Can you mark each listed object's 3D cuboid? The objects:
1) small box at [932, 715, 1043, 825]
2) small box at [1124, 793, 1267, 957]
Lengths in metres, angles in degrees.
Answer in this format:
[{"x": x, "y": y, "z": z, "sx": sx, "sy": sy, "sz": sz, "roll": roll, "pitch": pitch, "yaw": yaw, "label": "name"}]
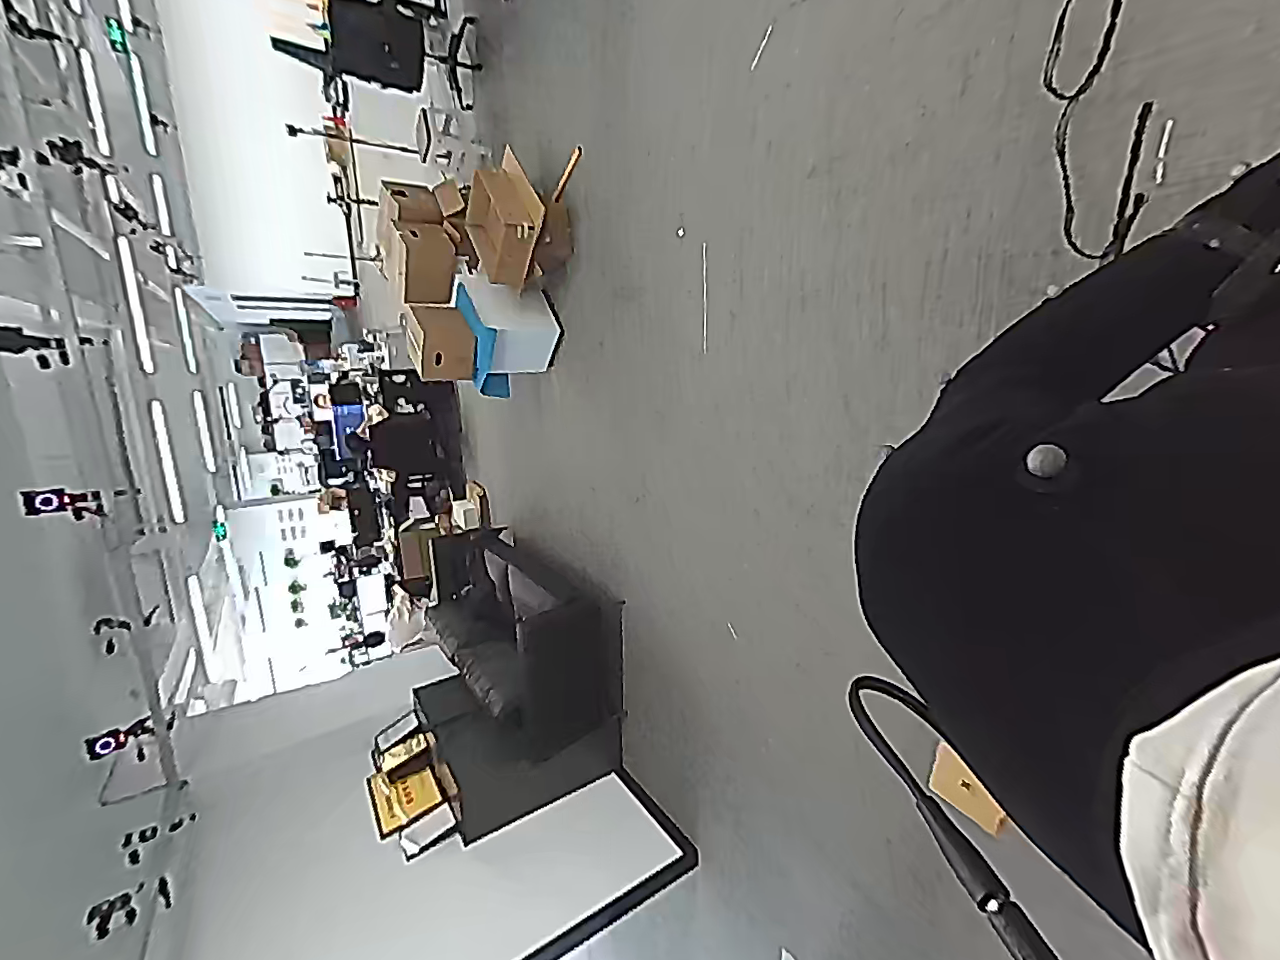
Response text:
[{"x": 0.922, "y": 0.758, "z": 1.439, "sx": 0.179, "sy": 0.176, "sz": 0.168, "roll": 27, "pitch": 120, "yaw": 52, "label": "small box"}, {"x": 1.136, "y": 0.790, "z": 1.106, "sx": 0.168, "sy": 0.176, "sz": 0.179, "roll": 15, "pitch": 111, "yaw": 56, "label": "small box"}]
